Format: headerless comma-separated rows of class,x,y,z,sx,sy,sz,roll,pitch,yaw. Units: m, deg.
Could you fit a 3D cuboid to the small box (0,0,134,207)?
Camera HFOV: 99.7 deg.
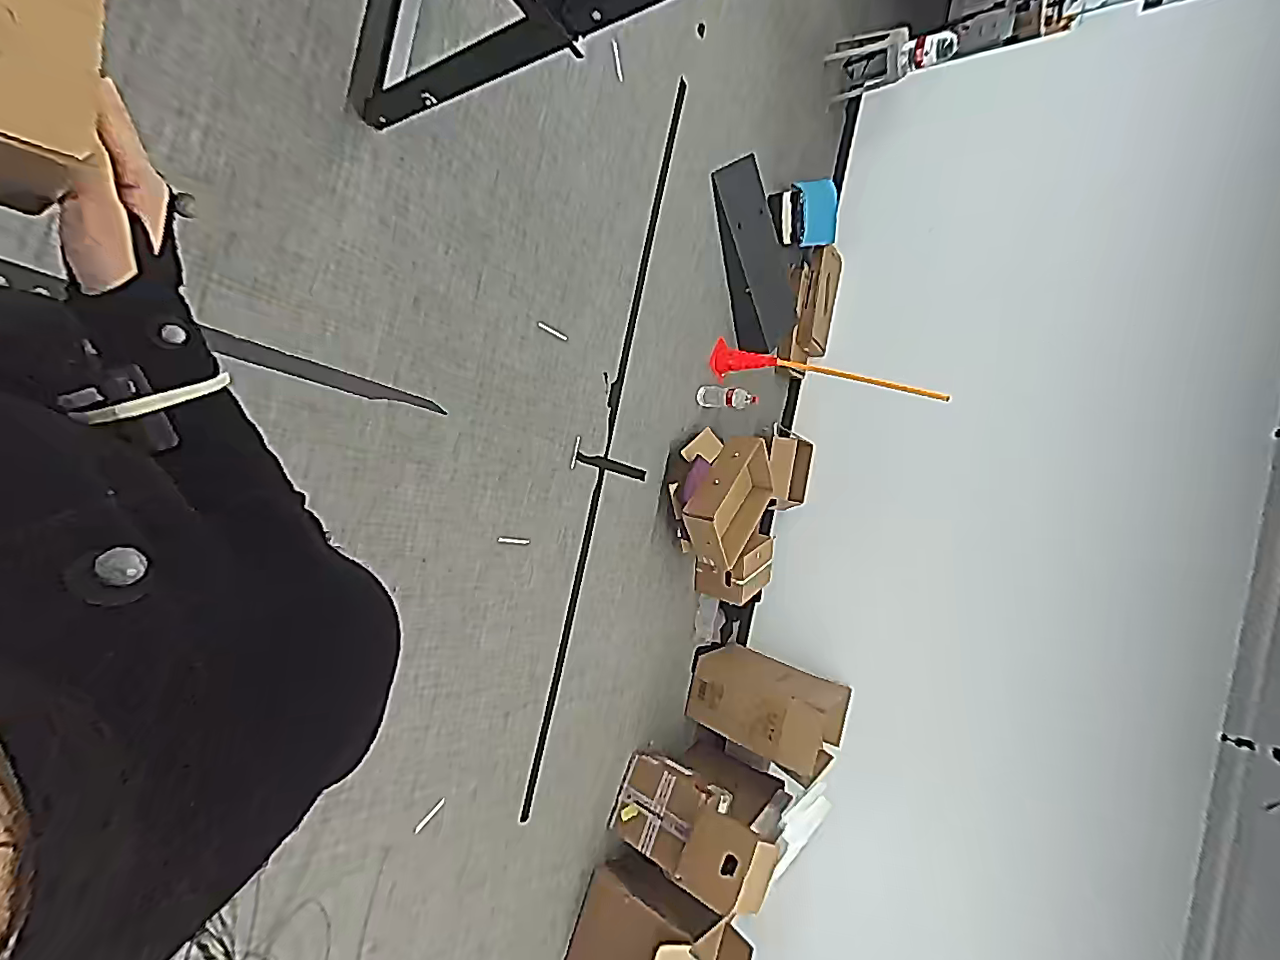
small box,-0.336,-0.236,0.221,0.168,0.176,0.179,3,98,-55
